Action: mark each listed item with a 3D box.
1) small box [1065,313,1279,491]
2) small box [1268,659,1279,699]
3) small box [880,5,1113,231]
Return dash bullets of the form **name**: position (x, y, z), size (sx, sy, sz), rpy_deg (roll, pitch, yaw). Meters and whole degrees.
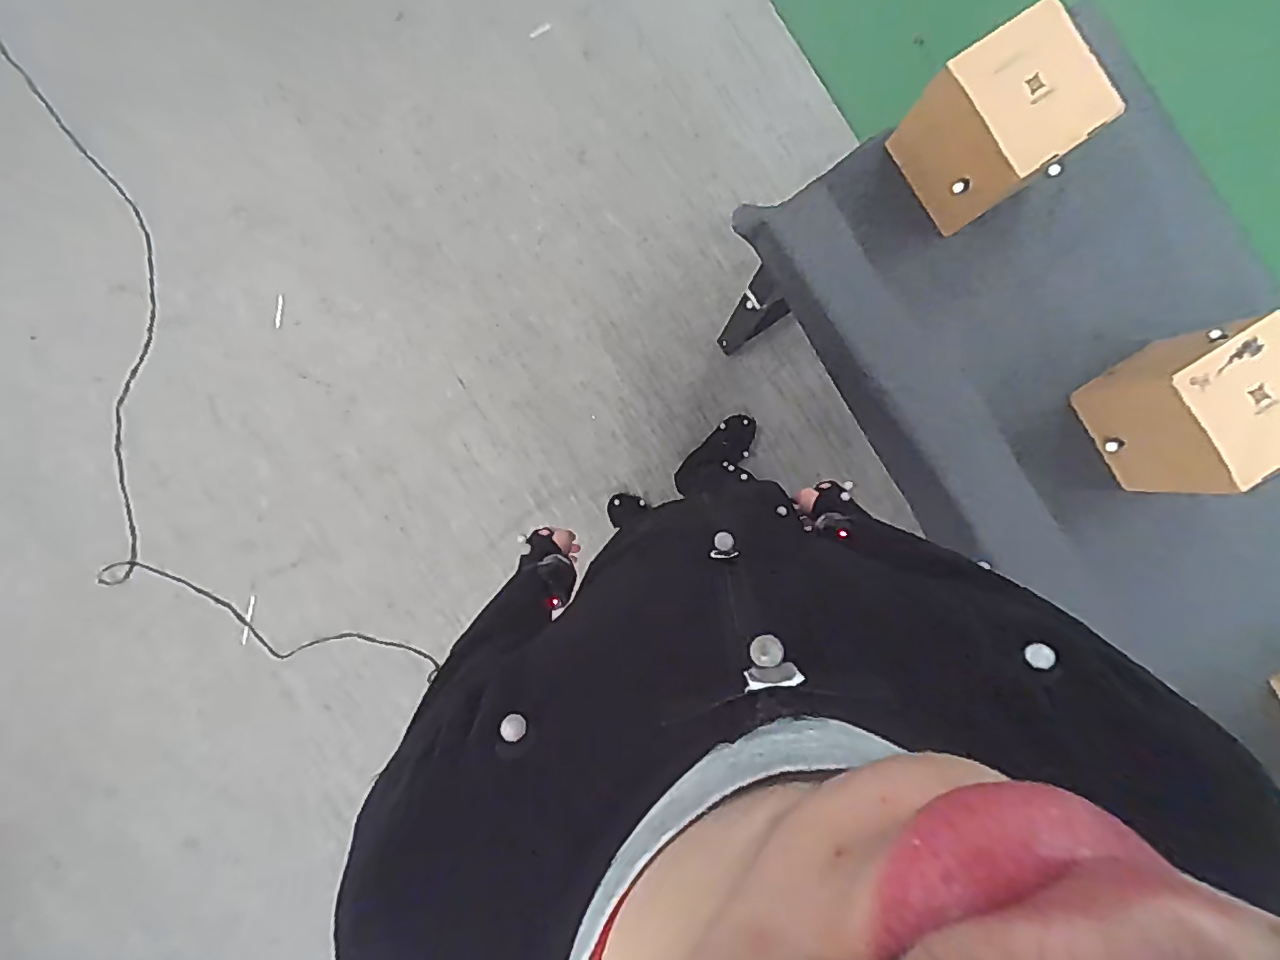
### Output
- **small box**: position (0.775, -0.102, 0.771), size (0.168, 0.176, 0.179), rpy_deg (-33, 92, -3)
- **small box**: position (1.098, 0.330, 0.781), size (0.168, 0.176, 0.179), rpy_deg (-31, 92, -2)
- **small box**: position (0.483, -0.484, 0.759), size (0.168, 0.176, 0.179), rpy_deg (-35, 90, -4)
